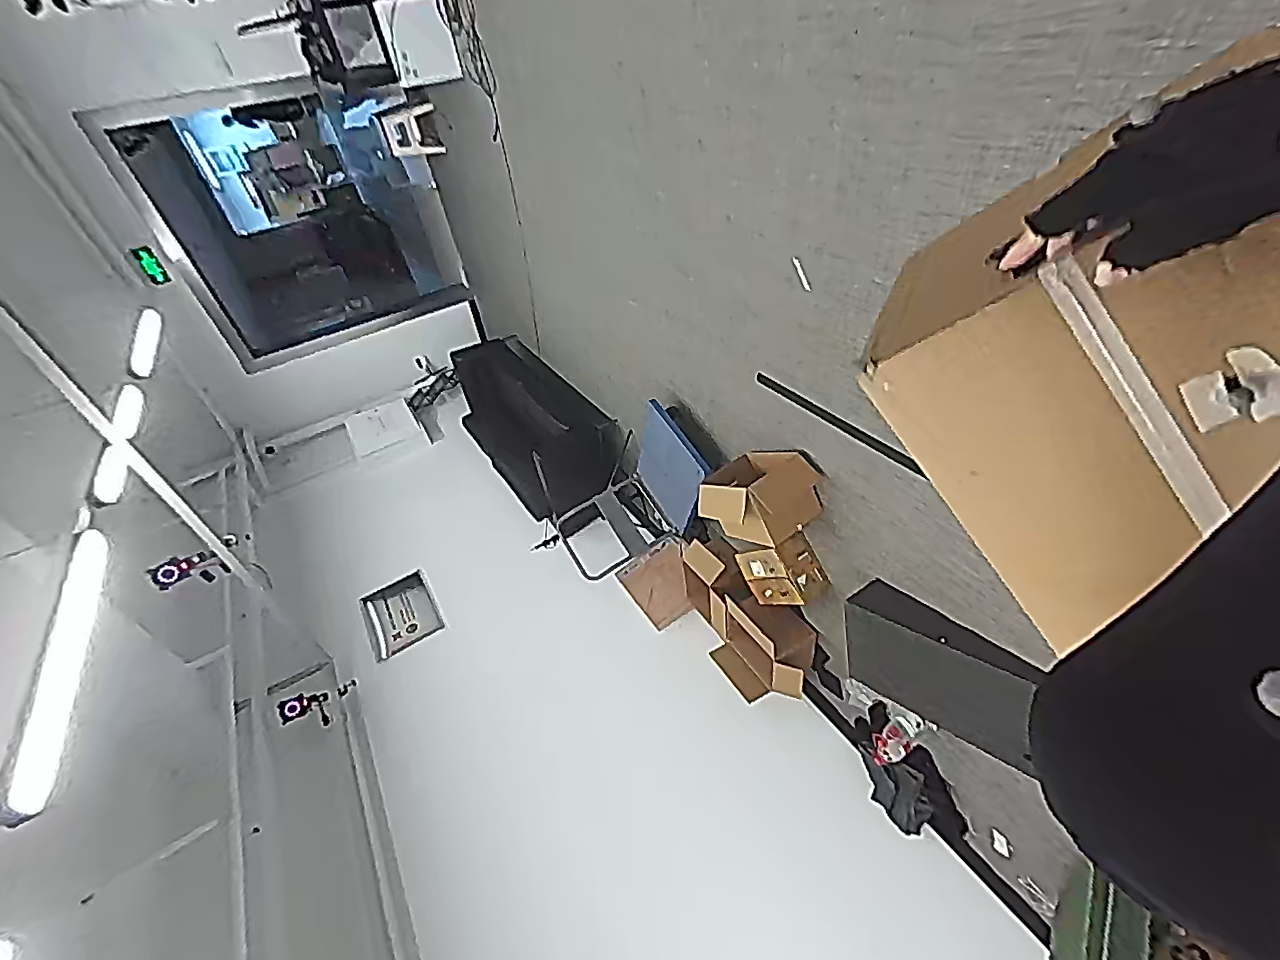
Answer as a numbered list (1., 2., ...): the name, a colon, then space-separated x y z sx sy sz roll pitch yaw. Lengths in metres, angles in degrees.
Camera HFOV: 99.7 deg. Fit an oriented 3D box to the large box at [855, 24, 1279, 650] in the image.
1. large box: 0.482 -0.108 0.504 0.408 0.320 0.320 49 137 -10
